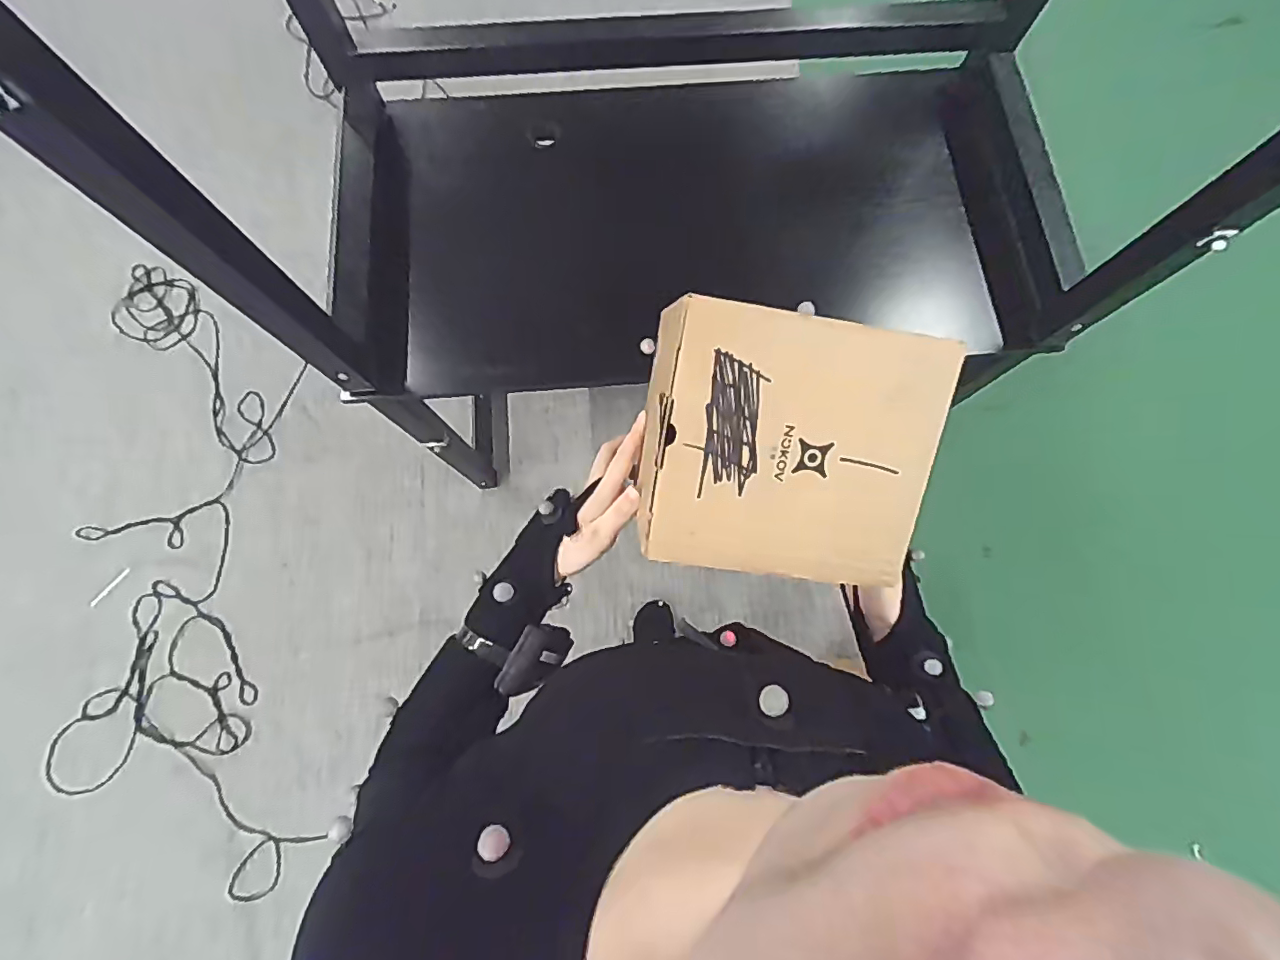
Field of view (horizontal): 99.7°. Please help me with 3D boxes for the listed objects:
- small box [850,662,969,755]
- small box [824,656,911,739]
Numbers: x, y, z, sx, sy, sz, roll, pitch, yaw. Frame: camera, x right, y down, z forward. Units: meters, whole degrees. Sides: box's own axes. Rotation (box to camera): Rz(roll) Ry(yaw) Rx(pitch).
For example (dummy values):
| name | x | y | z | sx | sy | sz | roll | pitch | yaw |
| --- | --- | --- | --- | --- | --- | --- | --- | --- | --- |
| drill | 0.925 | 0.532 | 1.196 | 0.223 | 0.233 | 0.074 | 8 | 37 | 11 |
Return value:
| name | x | y | z | sx | sy | sz | roll | pitch | yaw |
| --- | --- | --- | --- | --- | --- | --- | --- | --- | --- |
| small box | 0.586 | 0.503 | 1.207 | 0.179 | 0.176 | 0.168 | -4 | 76 | -2 |
| small box | 0.579 | 0.543 | 1.365 | 0.179 | 0.176 | 0.168 | -6 | 76 | -1 |
